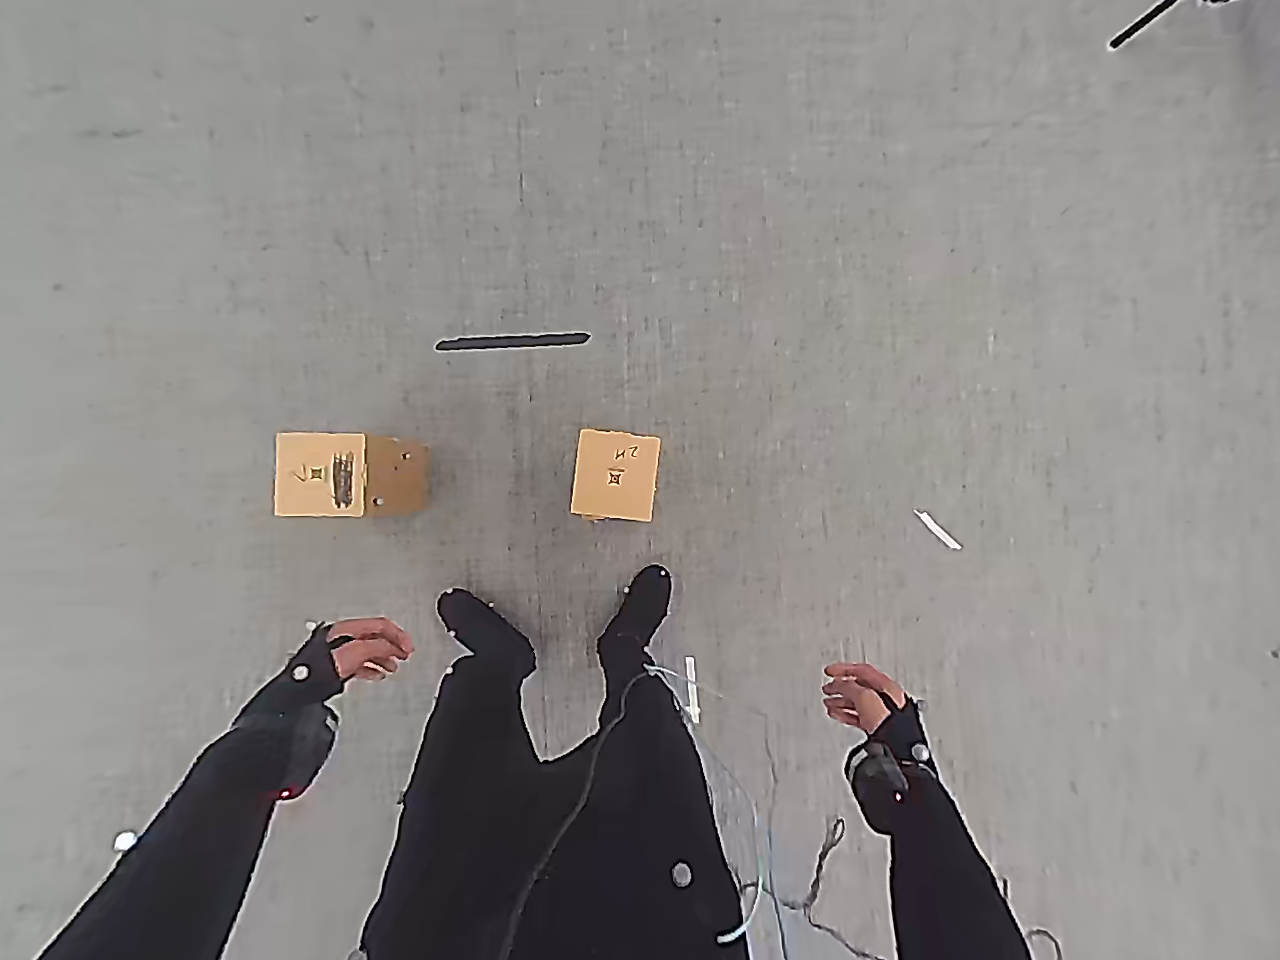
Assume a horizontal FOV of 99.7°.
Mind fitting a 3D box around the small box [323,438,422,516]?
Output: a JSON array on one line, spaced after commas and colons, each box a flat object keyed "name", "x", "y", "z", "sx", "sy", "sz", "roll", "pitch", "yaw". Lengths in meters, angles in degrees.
[{"name": "small box", "x": -0.634, "y": -0.005, "z": 1.298, "sx": 0.168, "sy": 0.176, "sz": 0.179, "roll": 0, "pitch": 88, "yaw": -3}]

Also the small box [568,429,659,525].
[{"name": "small box", "x": -0.058, "y": -0.004, "z": 1.166, "sx": 0.168, "sy": 0.176, "sz": 0.179, "roll": 7, "pitch": 88, "yaw": -4}]
